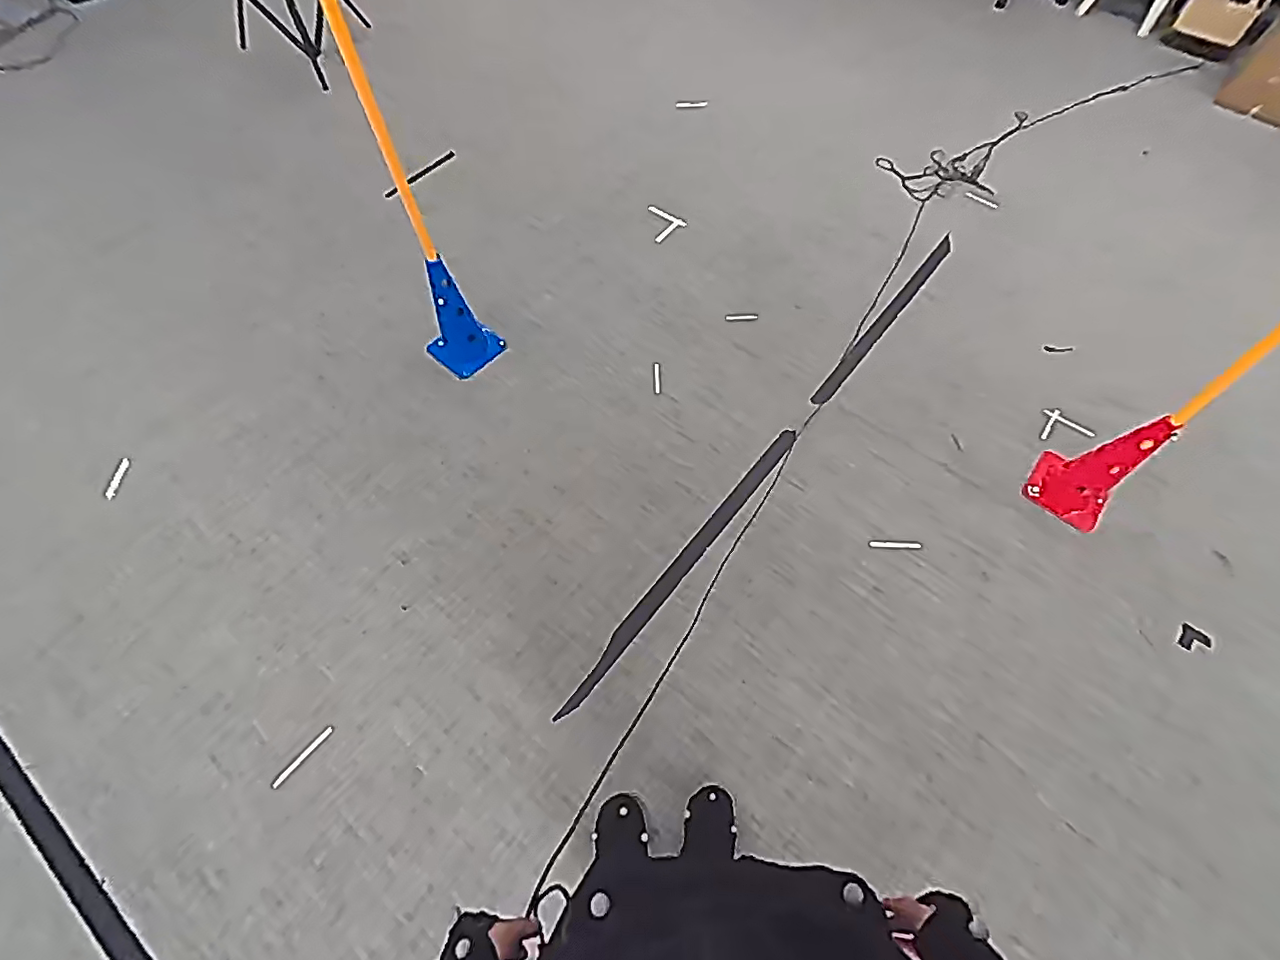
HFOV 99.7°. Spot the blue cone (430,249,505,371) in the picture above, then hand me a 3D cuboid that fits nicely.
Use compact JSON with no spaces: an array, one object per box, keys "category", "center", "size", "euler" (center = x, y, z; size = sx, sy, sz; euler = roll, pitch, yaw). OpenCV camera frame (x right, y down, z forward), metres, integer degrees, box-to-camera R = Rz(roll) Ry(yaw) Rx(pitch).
[{"category":"blue cone","center":[-0.566,-0.526,1.638],"size":[0.193,0.380,0.192],"euler":[39,68,18]}]
